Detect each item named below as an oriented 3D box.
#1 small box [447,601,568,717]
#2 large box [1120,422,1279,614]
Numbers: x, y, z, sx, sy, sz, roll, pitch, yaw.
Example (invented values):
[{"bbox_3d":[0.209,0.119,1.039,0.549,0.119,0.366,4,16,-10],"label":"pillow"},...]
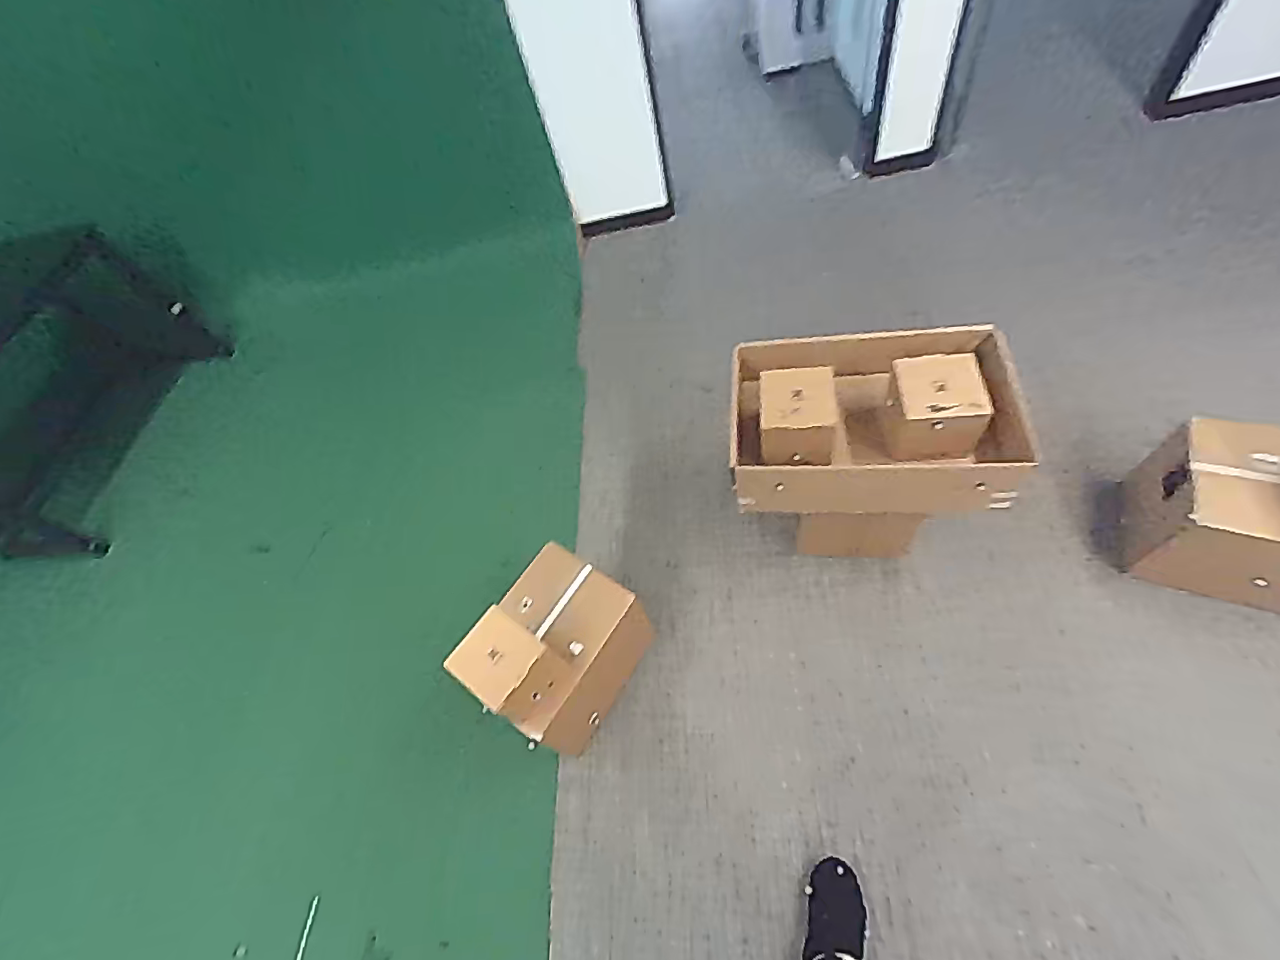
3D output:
[{"bbox_3d":[-0.295,0.413,1.232,0.179,0.176,0.168,29,67,25],"label":"small box"},{"bbox_3d":[1.483,0.102,1.305,0.408,0.320,0.320,14,62,22],"label":"large box"}]
